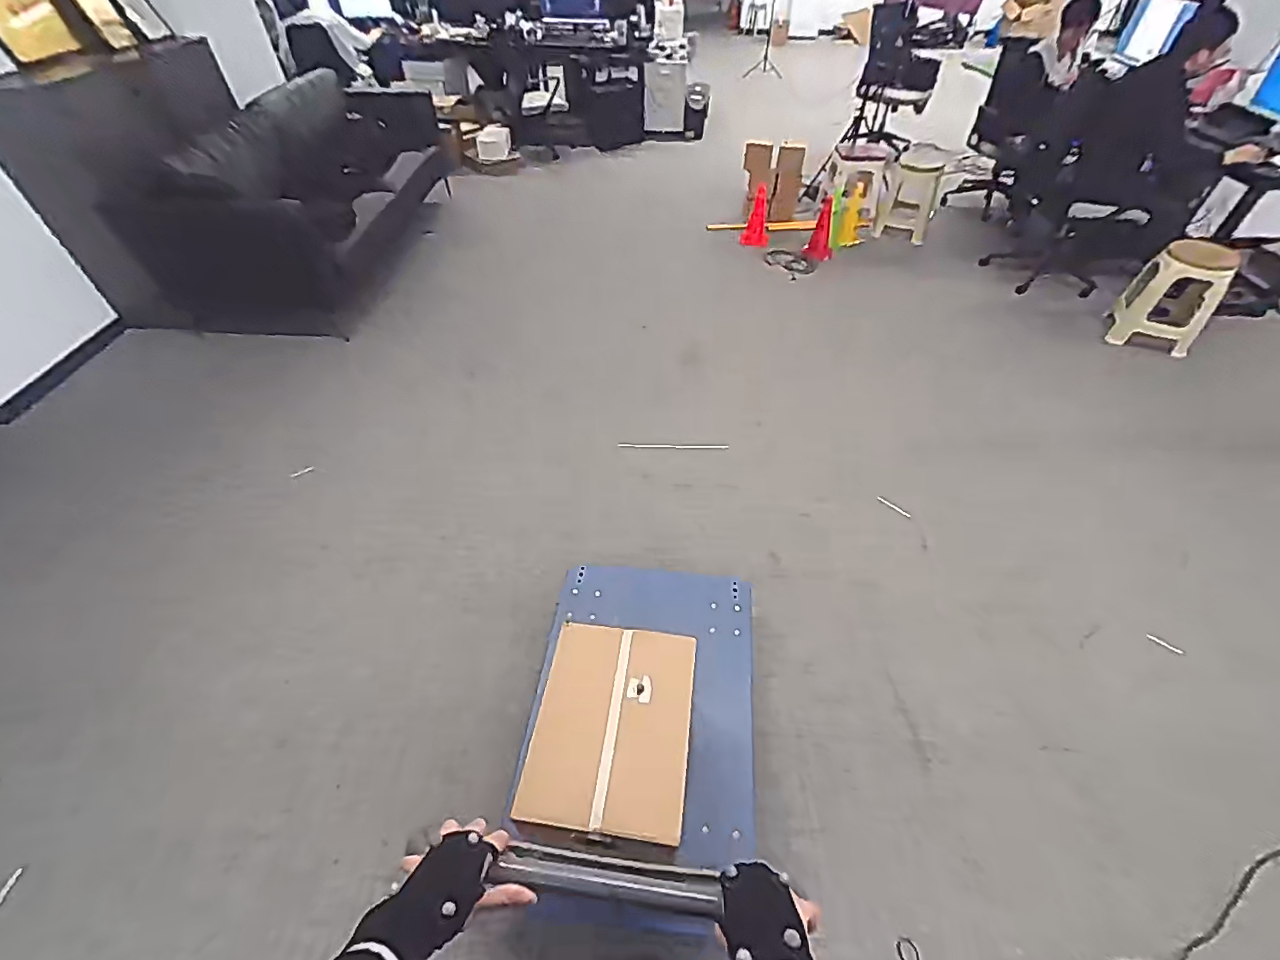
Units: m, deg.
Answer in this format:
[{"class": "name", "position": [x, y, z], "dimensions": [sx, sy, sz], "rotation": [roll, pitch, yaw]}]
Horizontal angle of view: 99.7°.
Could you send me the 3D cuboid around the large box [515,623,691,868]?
[{"class": "large box", "position": [-0.056, 0.590, 1.216], "dimensions": [0.320, 0.320, 0.408], "rotation": [6, 45, 5]}]
